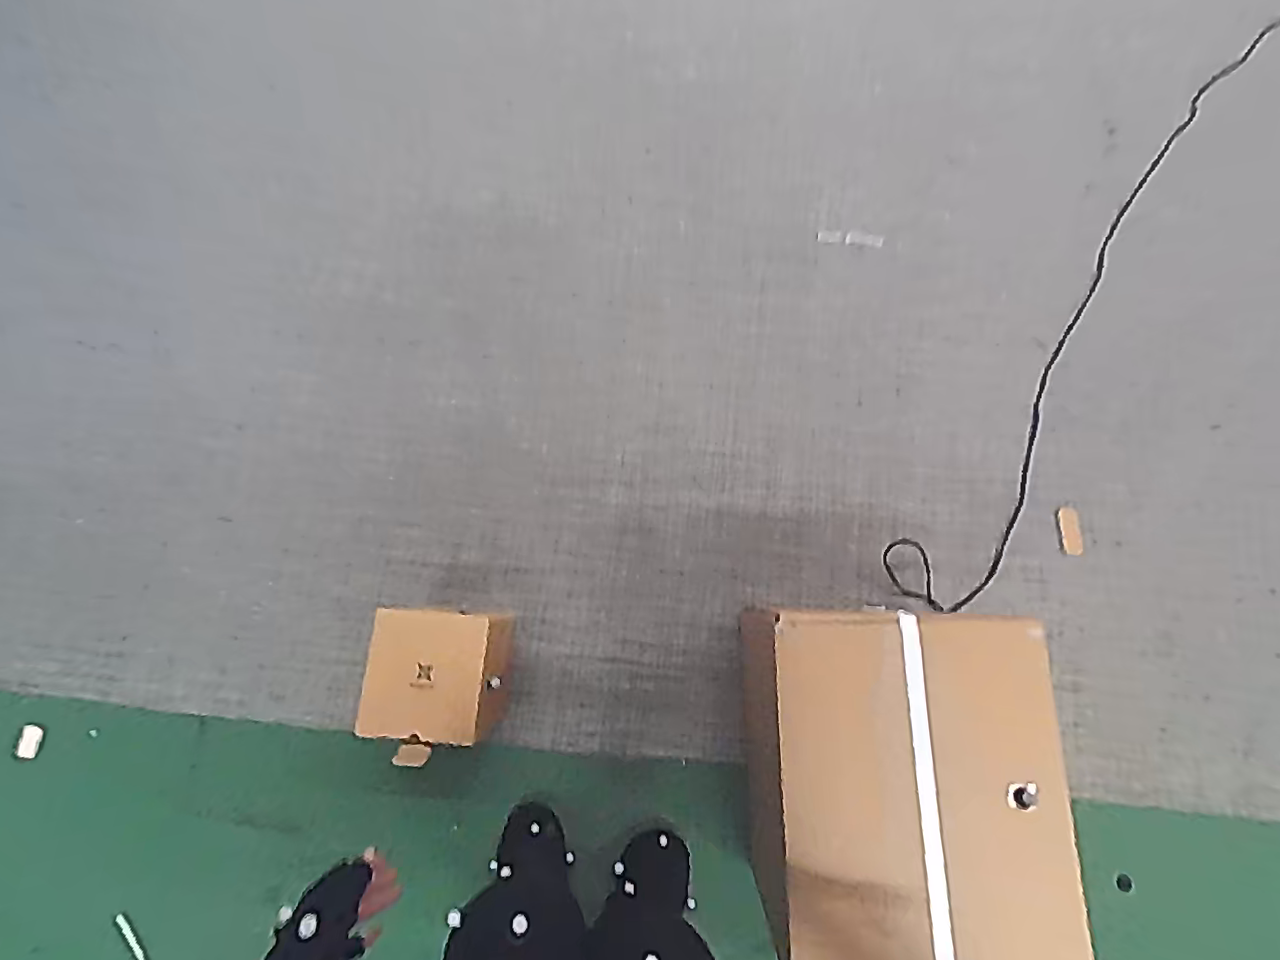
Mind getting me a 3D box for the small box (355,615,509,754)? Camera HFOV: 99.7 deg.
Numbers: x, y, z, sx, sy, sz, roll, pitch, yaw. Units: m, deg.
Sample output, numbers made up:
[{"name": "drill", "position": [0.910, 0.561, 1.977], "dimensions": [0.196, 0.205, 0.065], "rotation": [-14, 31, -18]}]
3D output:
[{"name": "small box", "position": [-0.309, 0.306, 0.845], "dimensions": [0.168, 0.176, 0.179], "rotation": [4, 78, 0]}]
